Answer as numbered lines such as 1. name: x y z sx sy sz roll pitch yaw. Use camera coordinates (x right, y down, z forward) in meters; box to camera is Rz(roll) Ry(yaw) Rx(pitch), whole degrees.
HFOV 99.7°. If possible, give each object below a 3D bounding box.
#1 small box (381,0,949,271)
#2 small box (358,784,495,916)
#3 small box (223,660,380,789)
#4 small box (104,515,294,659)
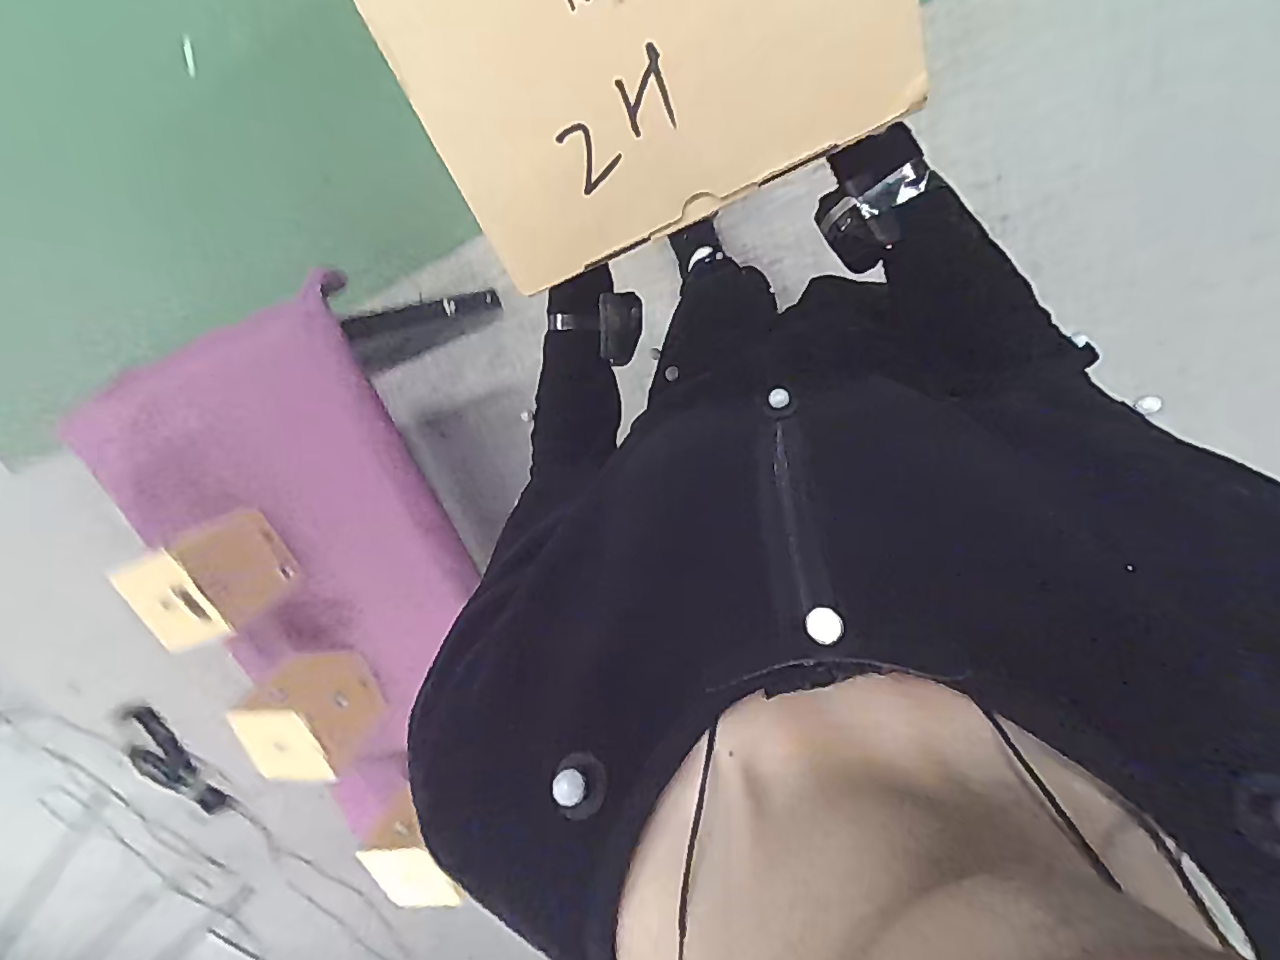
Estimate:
1. small box: 0.001 -0.217 0.224 0.168 0.176 0.179 -17 120 18
2. small box: -0.443 0.780 1.147 0.179 0.176 0.168 -18 108 18
3. small box: -0.642 0.470 1.057 0.179 0.176 0.168 -7 110 15
4. small box: -0.759 0.183 0.957 0.179 0.176 0.168 -18 108 20
